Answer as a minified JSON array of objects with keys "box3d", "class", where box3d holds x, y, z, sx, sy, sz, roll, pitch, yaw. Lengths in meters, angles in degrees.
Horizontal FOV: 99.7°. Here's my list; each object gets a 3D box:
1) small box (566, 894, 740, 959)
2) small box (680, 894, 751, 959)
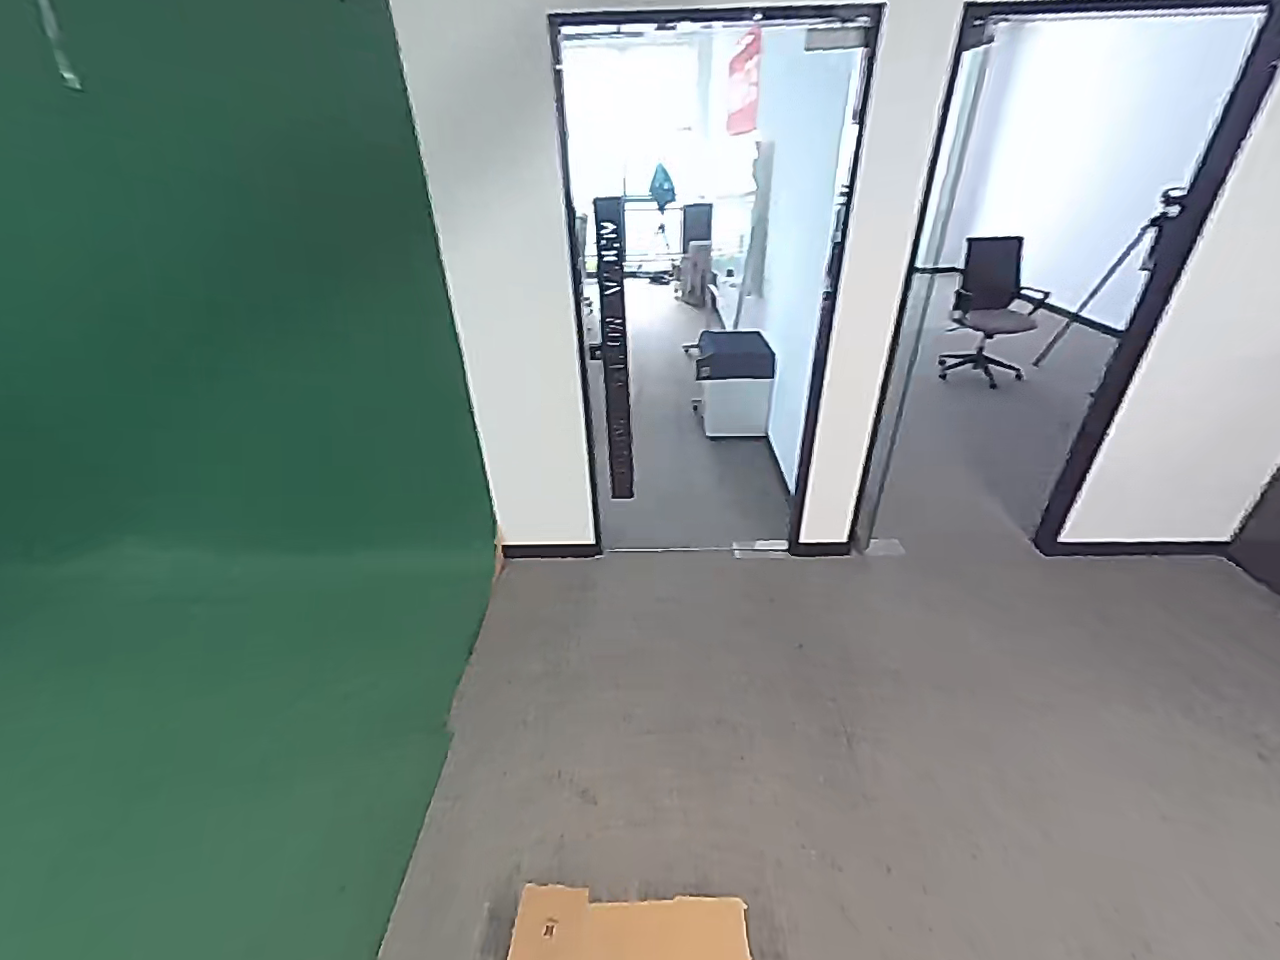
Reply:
[{"box3d":[0.011,0.532,0.511,0.168,0.176,0.179,0,32,-3],"class":"small box"},{"box3d":[0.171,1.110,1.260,0.168,0.176,0.179,1,31,5],"class":"small box"}]
